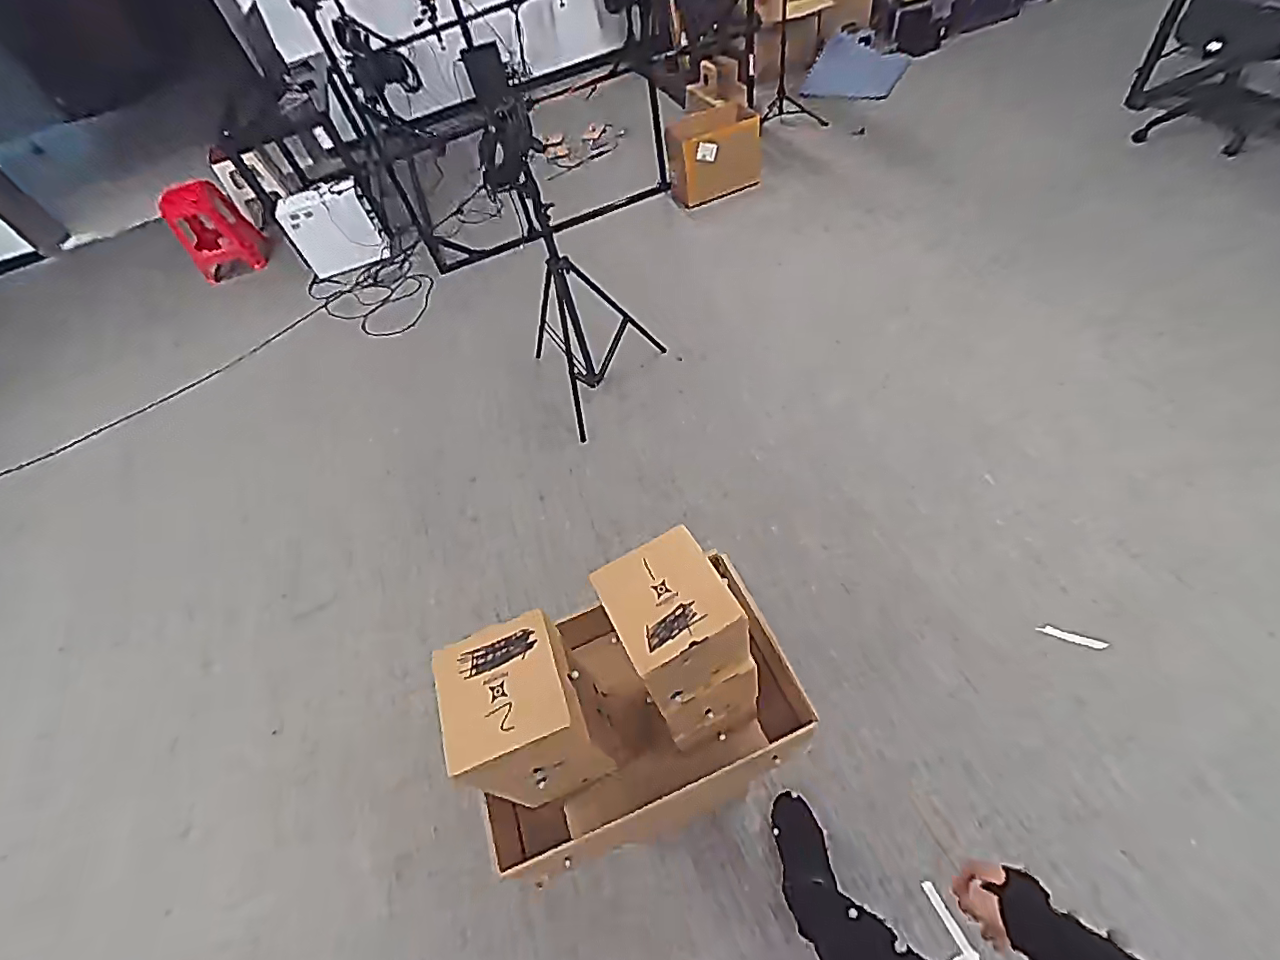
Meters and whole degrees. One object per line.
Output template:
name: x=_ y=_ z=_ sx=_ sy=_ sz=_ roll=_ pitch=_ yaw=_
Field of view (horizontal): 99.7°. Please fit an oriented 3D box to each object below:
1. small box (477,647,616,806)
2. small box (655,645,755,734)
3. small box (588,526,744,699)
small box: x=-0.155 y=0.420 z=0.916 sx=0.168 sy=0.176 sz=0.179 roll=-23 pitch=51 yaw=-4
small box: x=0.085 y=0.311 z=0.945 sx=0.168 sy=0.176 sz=0.179 roll=-26 pitch=53 yaw=-7
small box: x=0.046 y=0.209 z=0.821 sx=0.168 sy=0.176 sz=0.179 roll=-28 pitch=53 yaw=-9
